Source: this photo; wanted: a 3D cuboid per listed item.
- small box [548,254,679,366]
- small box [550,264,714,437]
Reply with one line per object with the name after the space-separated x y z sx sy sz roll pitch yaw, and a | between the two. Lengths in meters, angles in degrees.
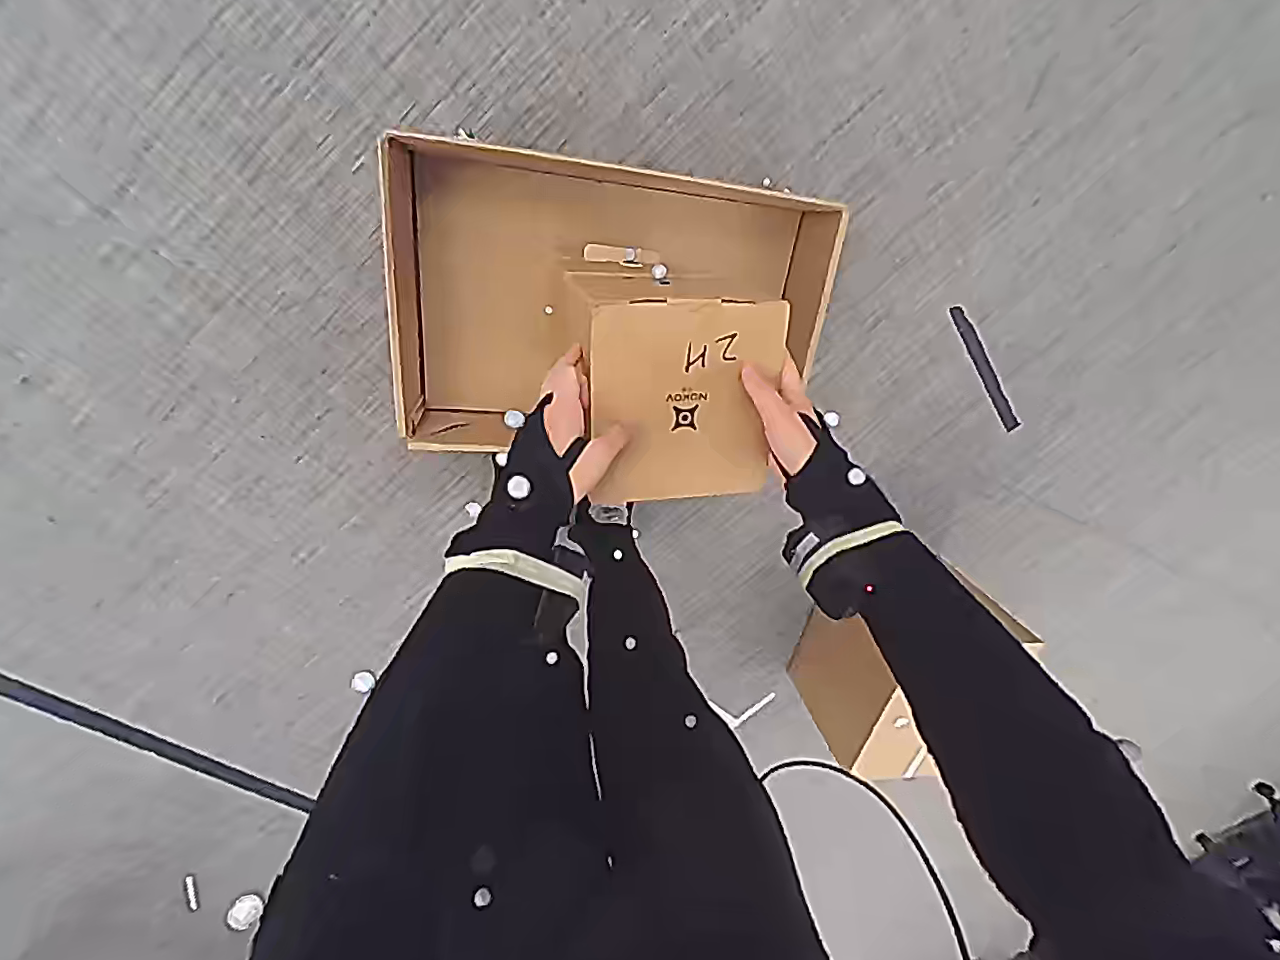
-0.050 -0.236 0.814 0.168 0.176 0.179 1 117 -14 | small box
-0.021 -0.166 0.671 0.168 0.176 0.179 -4 116 -13 | small box
